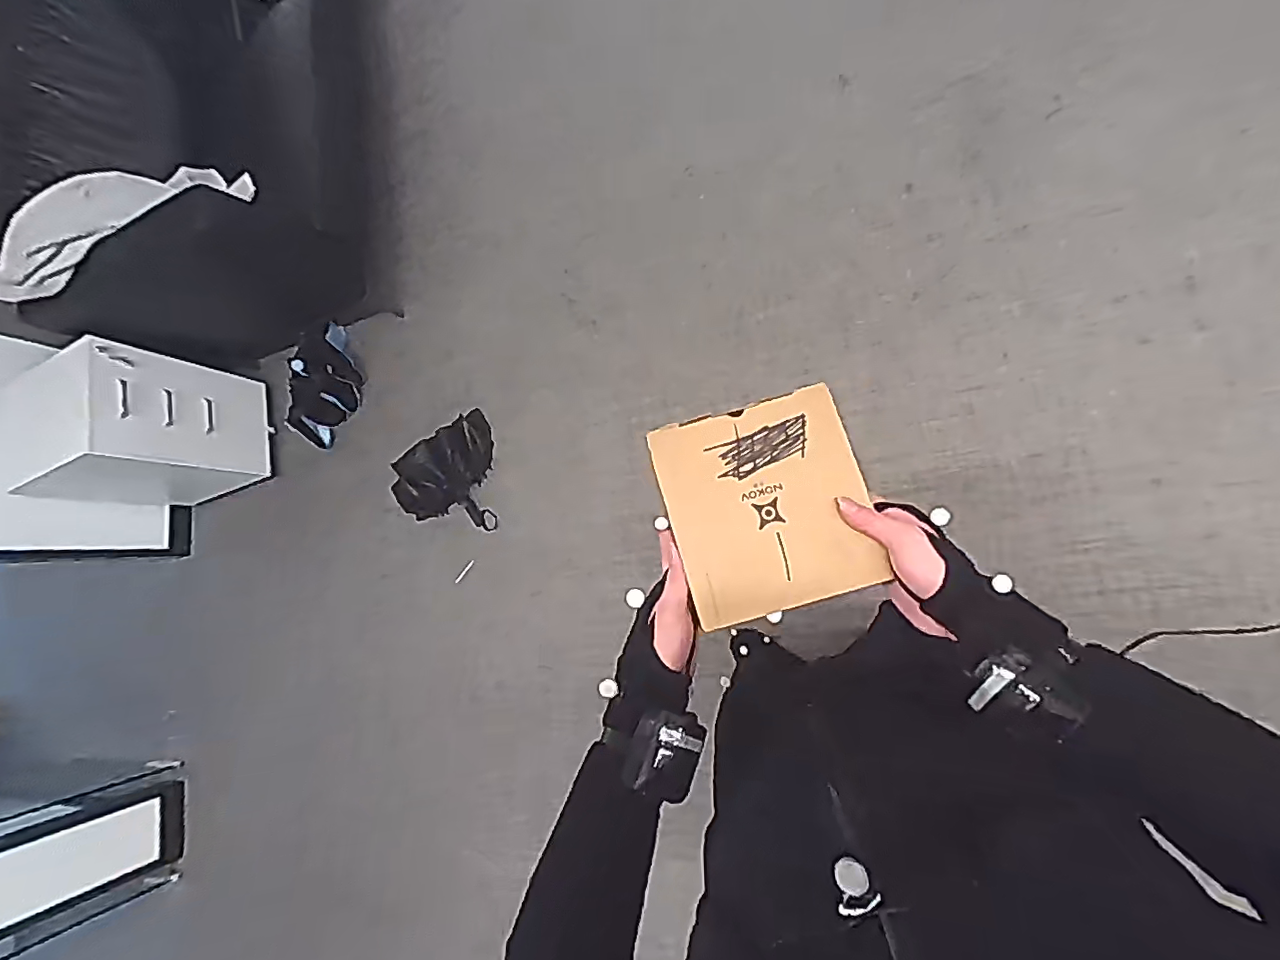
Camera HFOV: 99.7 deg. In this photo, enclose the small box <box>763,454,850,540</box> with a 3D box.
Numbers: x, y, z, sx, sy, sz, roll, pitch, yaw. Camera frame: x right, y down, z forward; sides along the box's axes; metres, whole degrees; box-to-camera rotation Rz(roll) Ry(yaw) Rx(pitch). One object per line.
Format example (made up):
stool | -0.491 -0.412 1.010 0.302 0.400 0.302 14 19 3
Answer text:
small box | 0.407 0.049 1.310 0.168 0.176 0.179 -12 80 22
